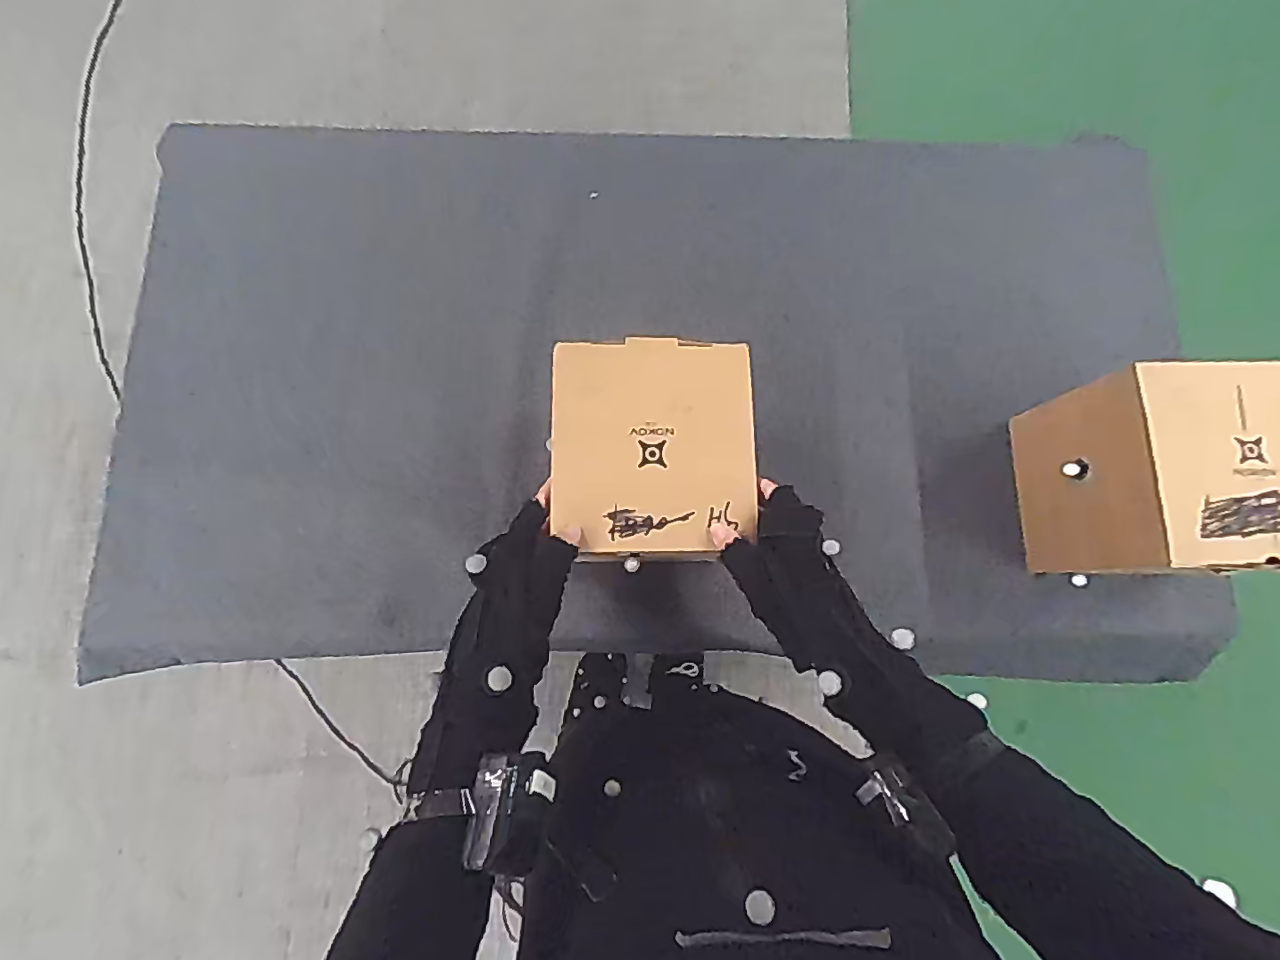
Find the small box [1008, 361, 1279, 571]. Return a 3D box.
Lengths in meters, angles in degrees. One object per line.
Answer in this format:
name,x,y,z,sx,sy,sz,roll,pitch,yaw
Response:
small box,0.501,-0.002,0.528,0.168,0.176,0.179,0,78,1

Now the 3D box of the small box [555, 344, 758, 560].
small box,0.011,-0.014,0.523,0.168,0.176,0.179,0,80,-2
